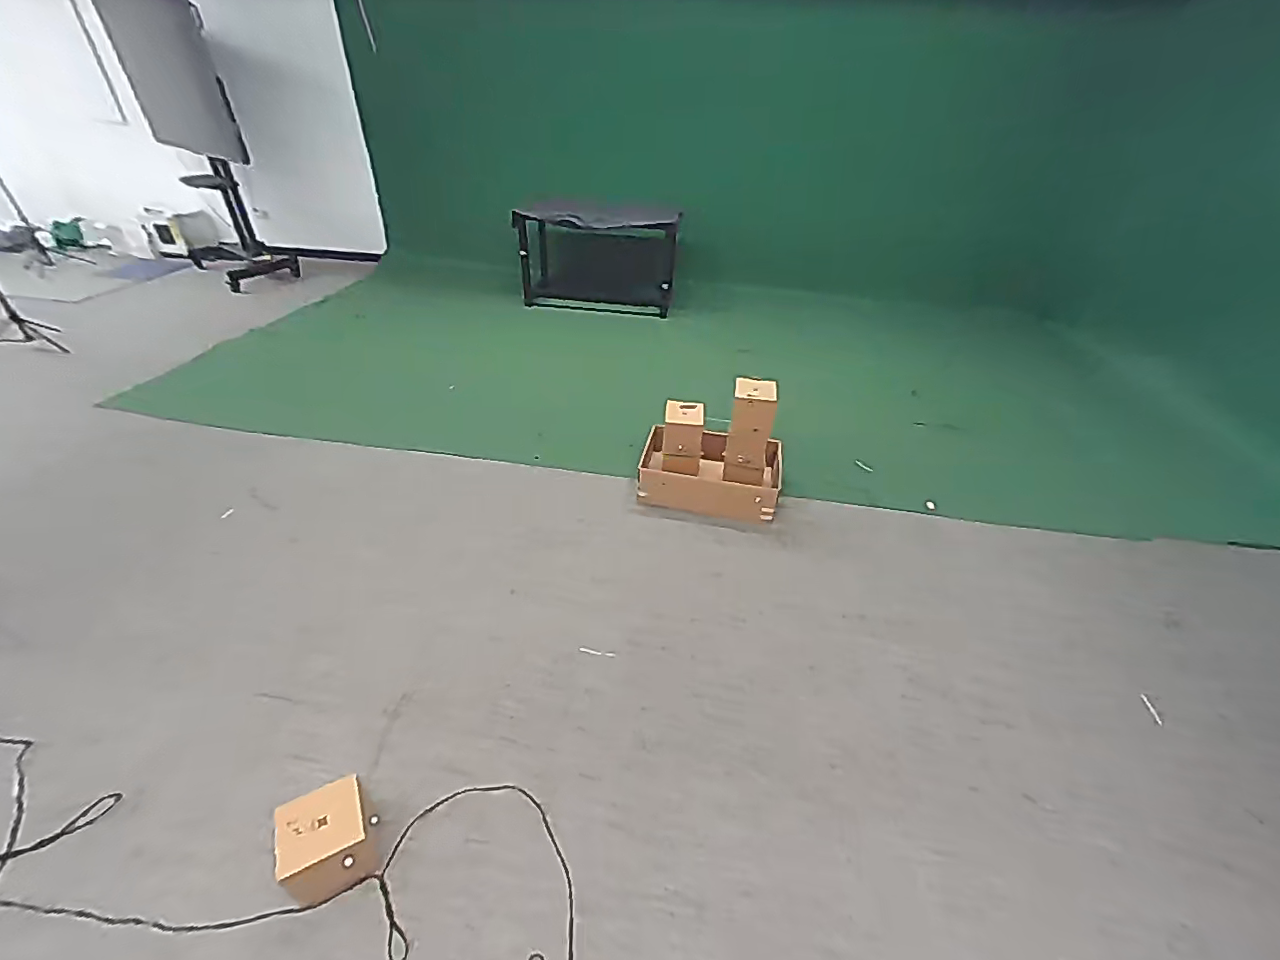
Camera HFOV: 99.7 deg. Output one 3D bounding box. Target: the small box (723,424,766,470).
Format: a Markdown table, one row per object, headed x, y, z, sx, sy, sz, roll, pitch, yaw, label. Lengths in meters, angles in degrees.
| x | y | z | sx | sy | sz | roll | pitch | yaw | label |
| --- | --- | --- | --- | --- | --- | --- | --- | --- | --- |
| 0.457 | -0.169 | 2.346 | 0.168 | 0.176 | 0.179 | 8 | 39 | 10 | small box |

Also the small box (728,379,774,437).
| x | y | z | sx | sy | sz | roll | pitch | yaw | label |
| --- | --- | --- | --- | --- | --- | --- | --- | --- | --- |
| 0.460 | -0.300 | 2.246 | 0.168 | 0.176 | 0.179 | 7 | 36 | 8 | small box |

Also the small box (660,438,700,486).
| x | y | z | sx | sy | sz | roll | pitch | yaw | label |
| --- | --- | --- | --- | --- | --- | --- | --- | --- | --- |
| 0.183 | -0.096 | 2.507 | 0.168 | 0.176 | 0.179 | 6 | 38 | 4 | small box |

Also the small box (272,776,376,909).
| x | y | z | sx | sy | sz | roll | pitch | yaw | label |
| --- | --- | --- | --- | --- | --- | --- | --- | --- | --- |
| -0.728 | 0.840 | 1.255 | 0.179 | 0.176 | 0.168 | -17 | 39 | -24 | small box |

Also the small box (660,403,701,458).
| x | y | z | sx | sy | sz | roll | pitch | yaw | label |
| --- | --- | --- | --- | --- | --- | --- | --- | --- | --- |
| 0.180 | -0.221 | 2.399 | 0.168 | 0.176 | 0.179 | 5 | 39 | 2 | small box |
